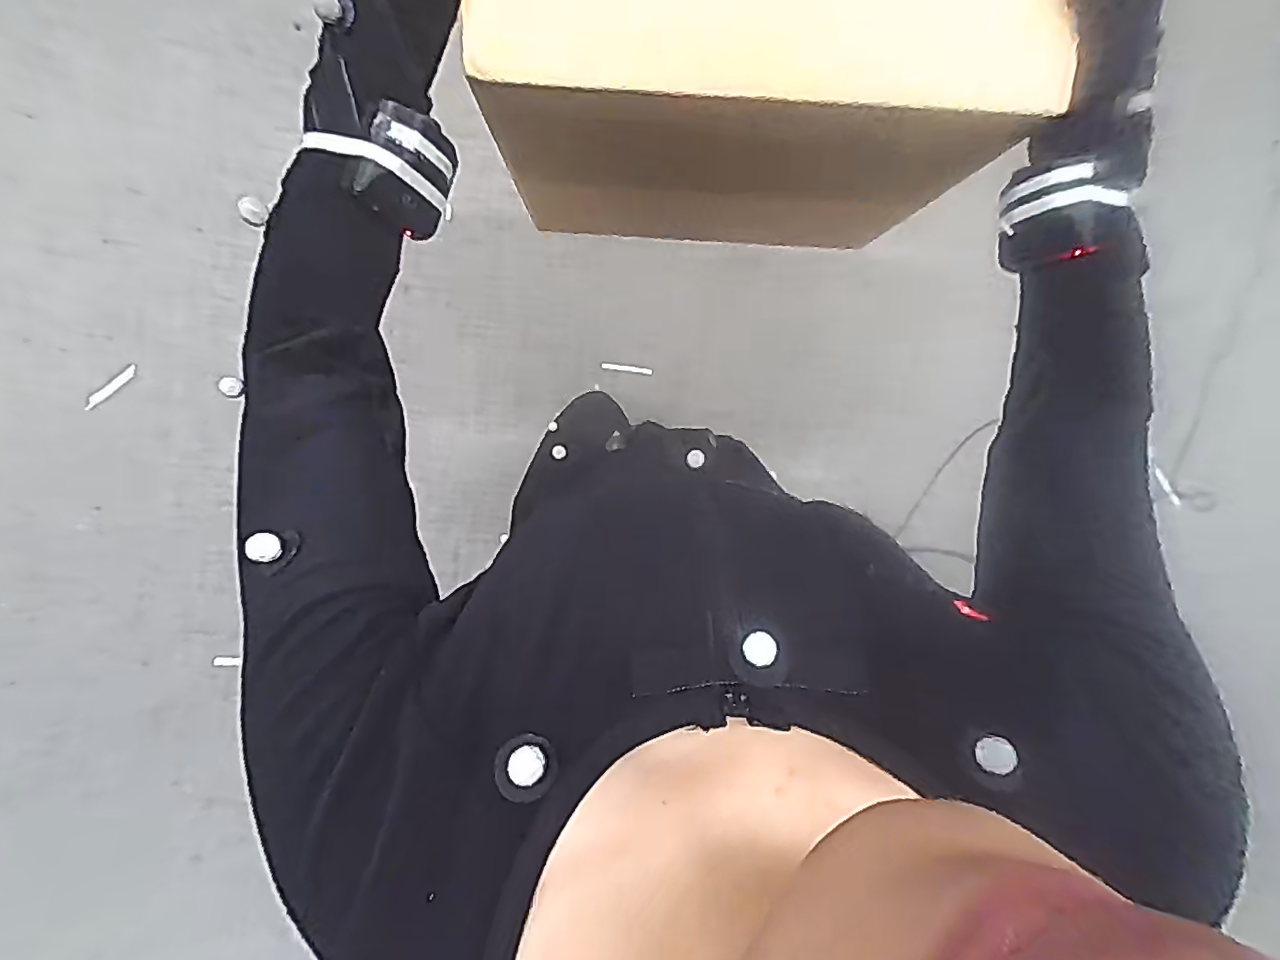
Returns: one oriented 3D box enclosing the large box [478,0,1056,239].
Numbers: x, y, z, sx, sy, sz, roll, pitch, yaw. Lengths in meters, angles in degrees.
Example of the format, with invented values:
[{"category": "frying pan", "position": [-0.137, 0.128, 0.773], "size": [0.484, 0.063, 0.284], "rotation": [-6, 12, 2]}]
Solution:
[{"category": "large box", "position": [0.083, -0.436, 0.501], "size": [0.408, 0.320, 0.320], "rotation": [2, 97, -3]}]
